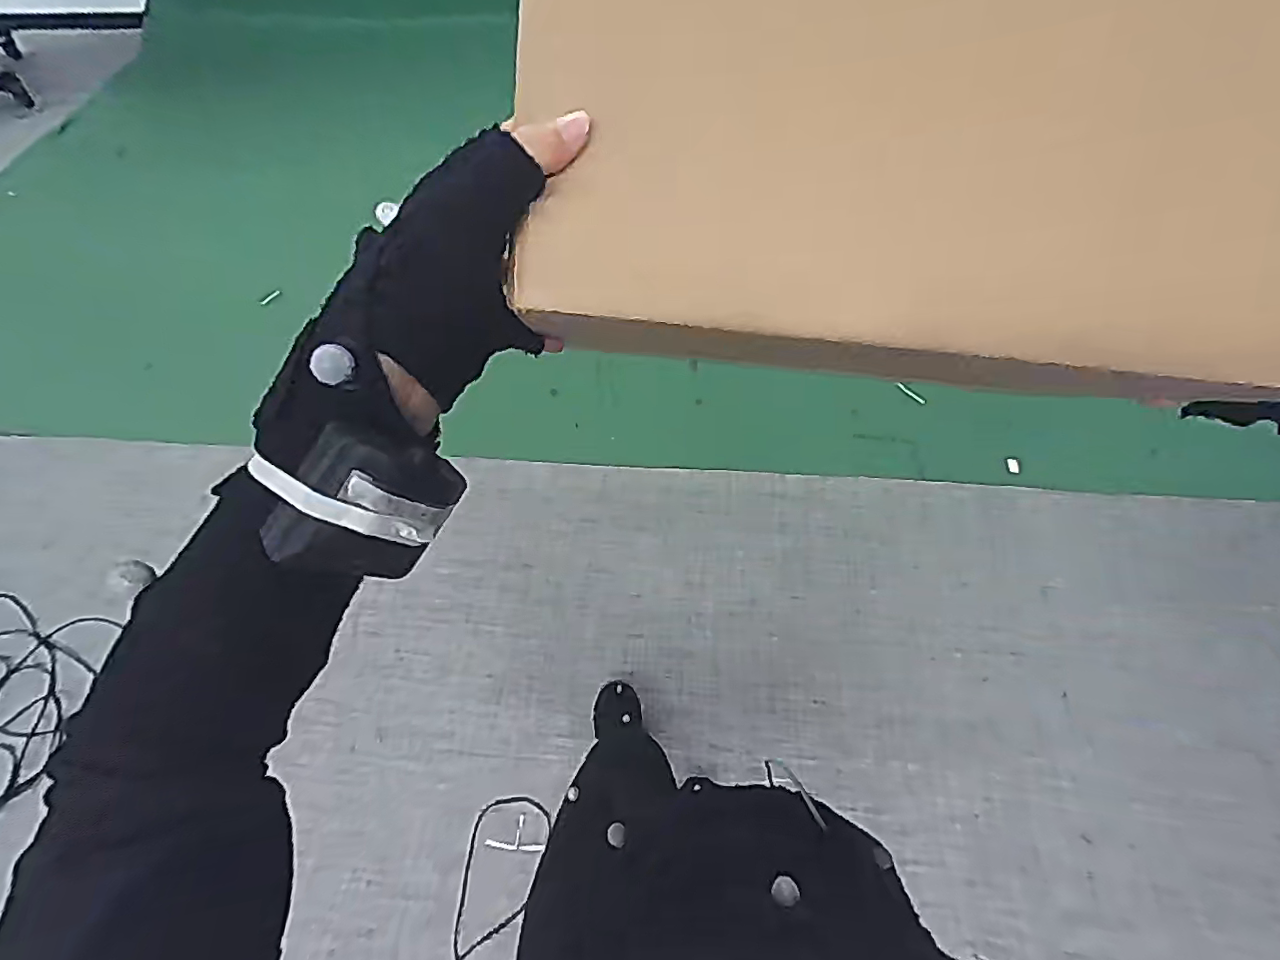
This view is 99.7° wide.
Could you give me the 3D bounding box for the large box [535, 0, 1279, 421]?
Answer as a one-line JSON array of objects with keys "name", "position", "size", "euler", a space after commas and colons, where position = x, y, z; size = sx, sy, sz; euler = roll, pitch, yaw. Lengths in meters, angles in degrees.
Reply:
[{"name": "large box", "position": [0.156, -0.225, 0.378], "size": [0.408, 0.320, 0.320], "euler": [6, 100, -3]}]
